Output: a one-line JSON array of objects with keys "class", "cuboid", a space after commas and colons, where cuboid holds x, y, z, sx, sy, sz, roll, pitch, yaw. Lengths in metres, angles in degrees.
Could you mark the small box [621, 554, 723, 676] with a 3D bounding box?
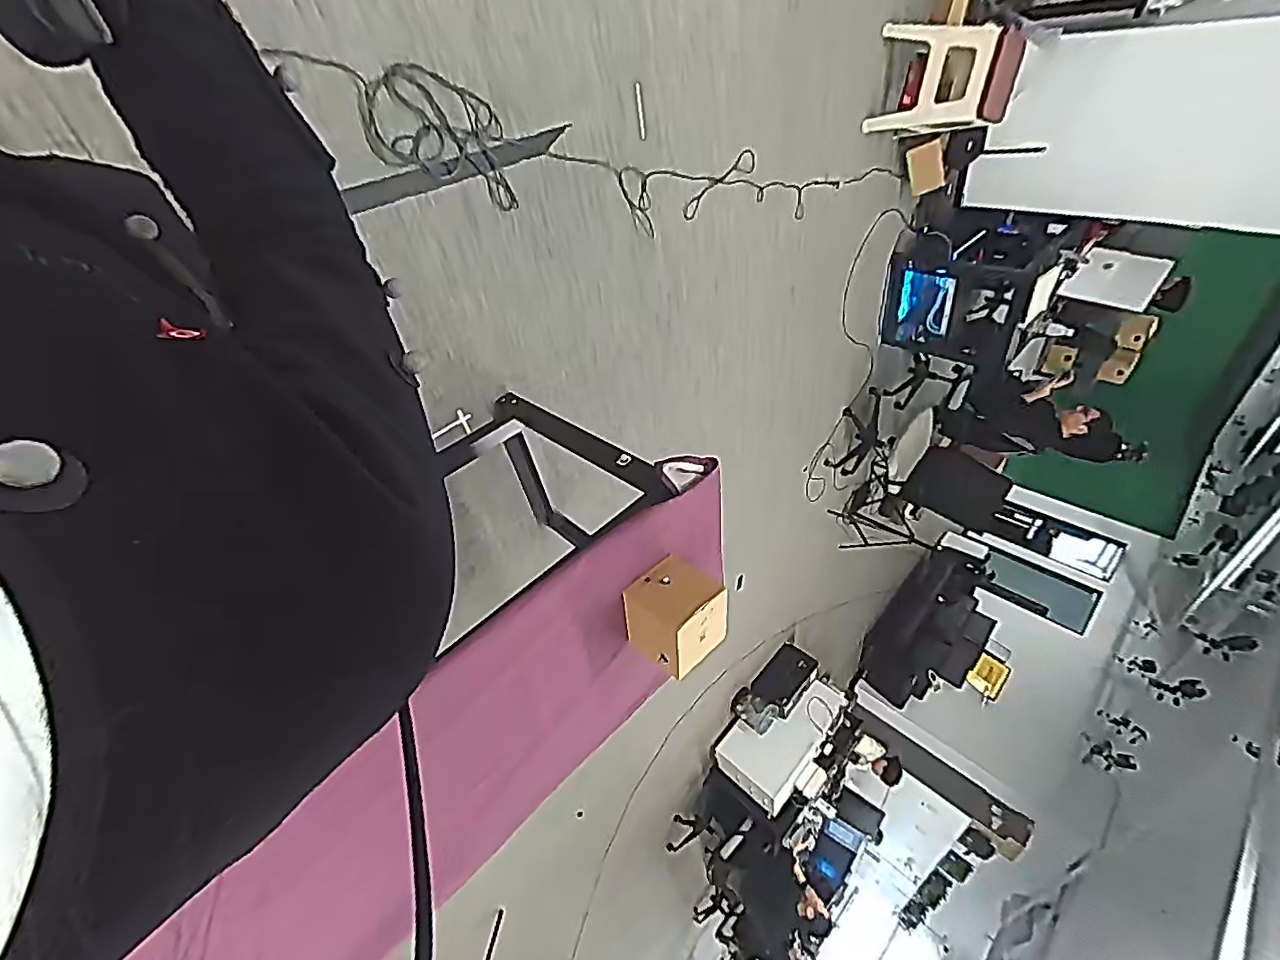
[{"class": "small box", "cuboid": [0.073, 0.304, 1.246, 0.168, 0.176, 0.179, -32, 134, -33]}]
